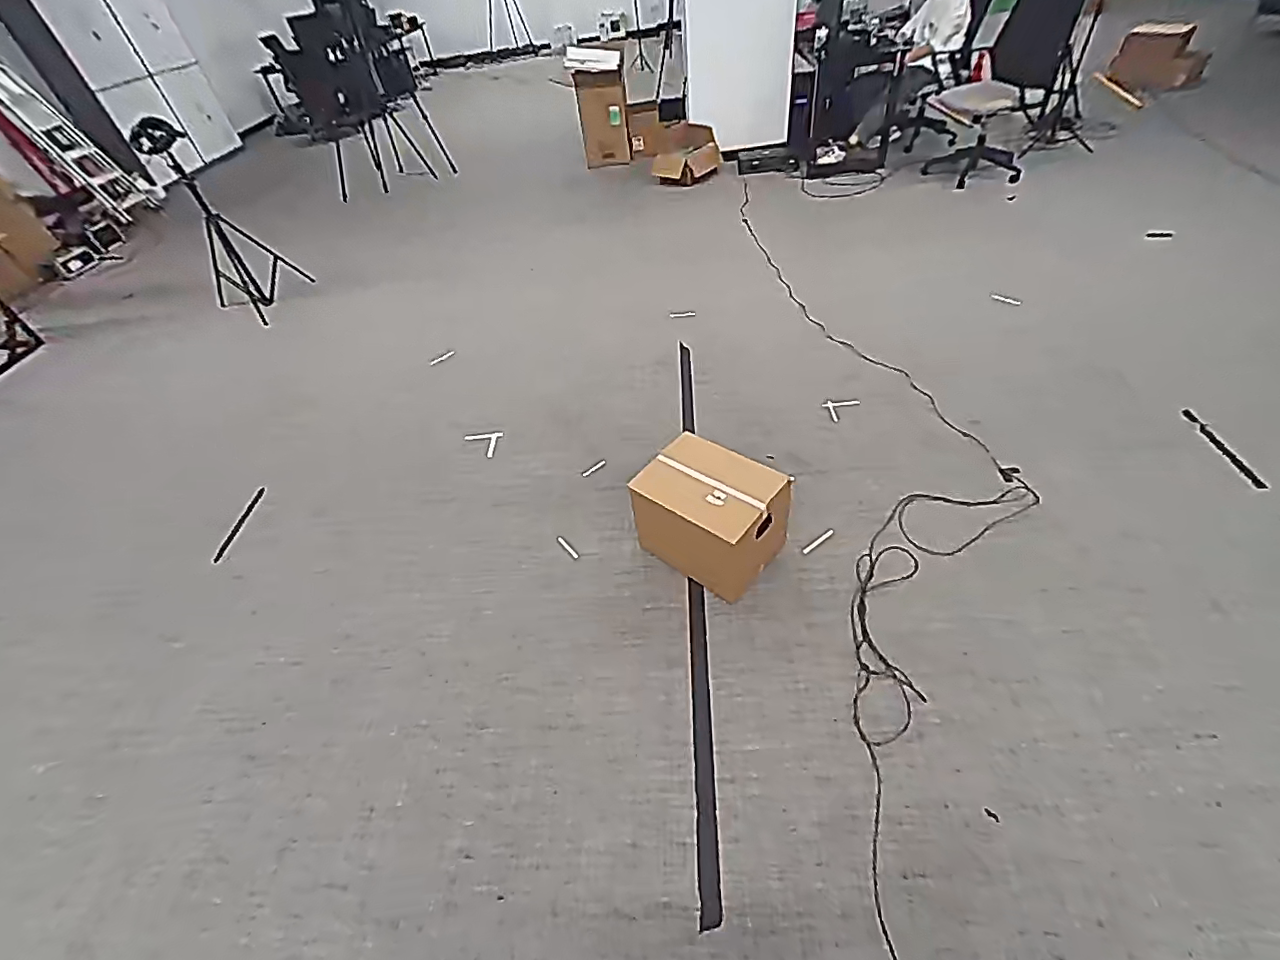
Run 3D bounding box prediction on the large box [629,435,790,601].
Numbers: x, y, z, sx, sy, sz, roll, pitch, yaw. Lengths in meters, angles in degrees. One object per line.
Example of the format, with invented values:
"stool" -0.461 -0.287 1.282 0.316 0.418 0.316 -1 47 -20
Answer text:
"large box" 0.224 0.117 1.767 0.408 0.320 0.320 28 56 31
